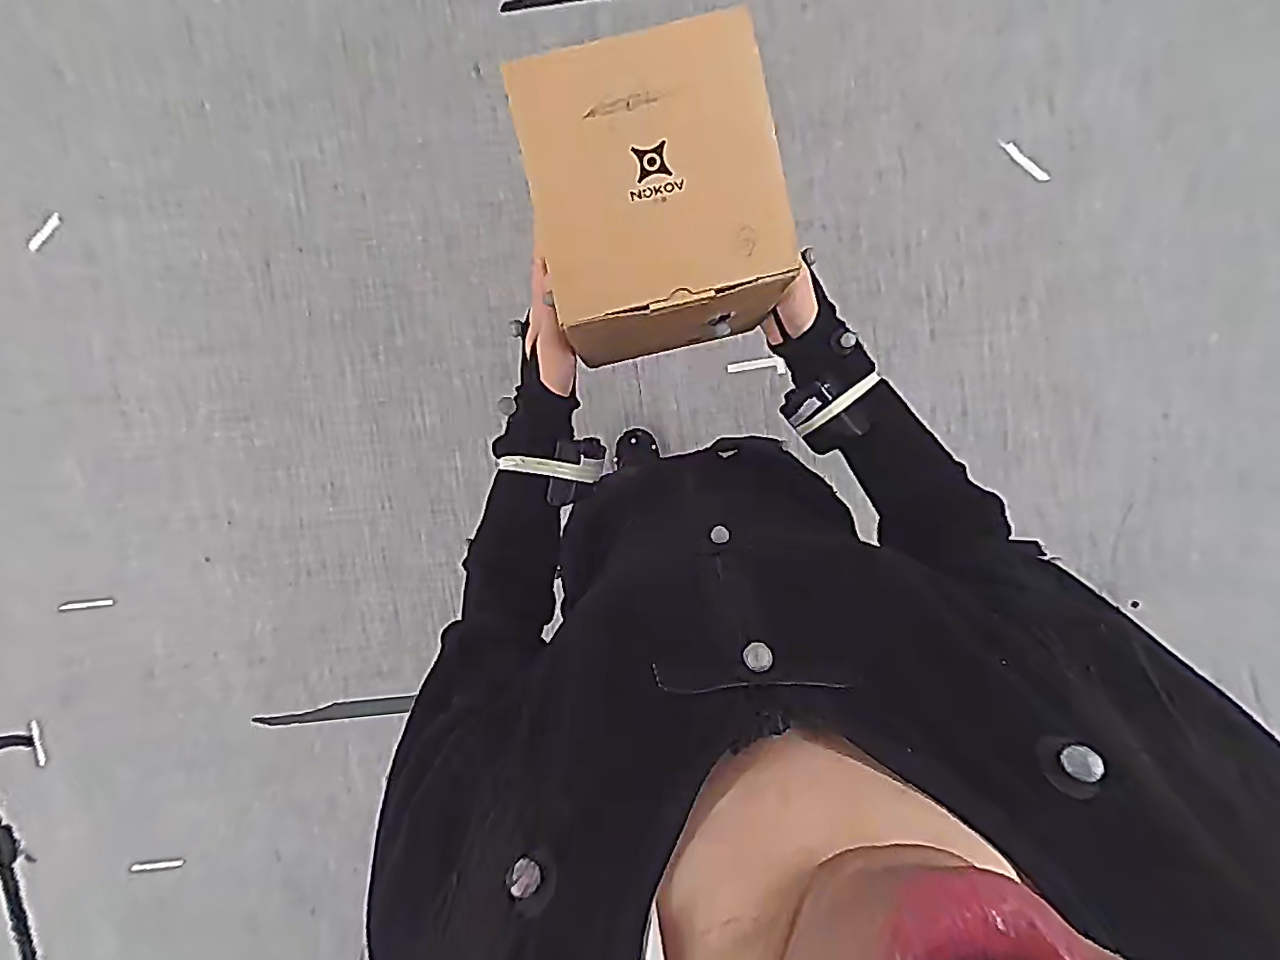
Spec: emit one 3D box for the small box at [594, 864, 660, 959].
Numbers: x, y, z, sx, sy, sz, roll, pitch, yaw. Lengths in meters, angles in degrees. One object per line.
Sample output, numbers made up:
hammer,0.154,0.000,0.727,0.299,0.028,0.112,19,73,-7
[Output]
small box,-0.032,1.233,1.523,0.168,0.176,0.179,-7,94,0
